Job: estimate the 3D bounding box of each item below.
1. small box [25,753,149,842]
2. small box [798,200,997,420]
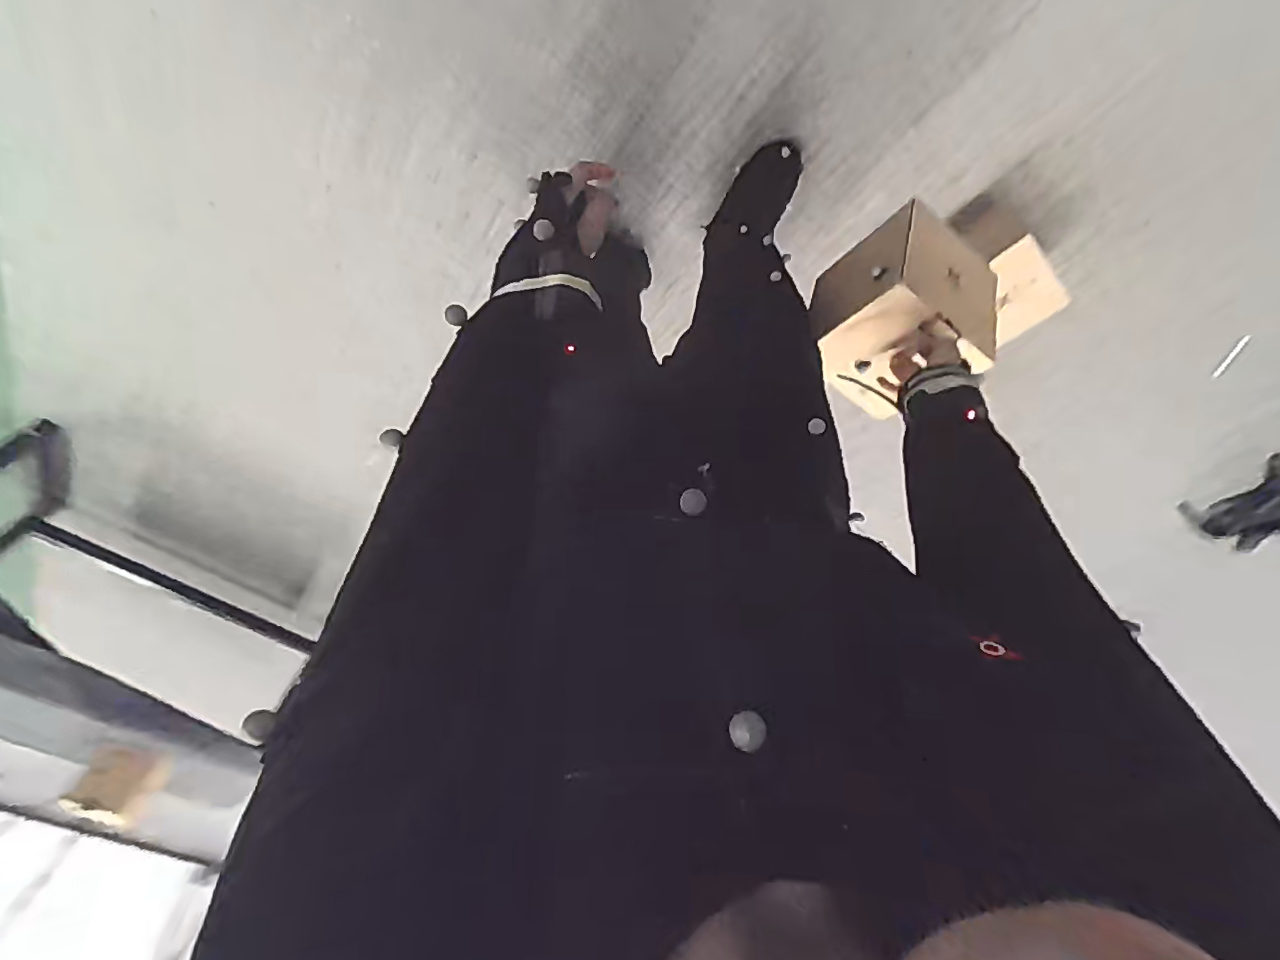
[{"bbox_3d":[-1.581,0.914,1.561,0.168,0.176,0.179,24,132,-9],"label":"small box"},{"bbox_3d":[0.333,-0.212,0.709,0.168,0.179,0.176,32,149,-17],"label":"small box"}]
